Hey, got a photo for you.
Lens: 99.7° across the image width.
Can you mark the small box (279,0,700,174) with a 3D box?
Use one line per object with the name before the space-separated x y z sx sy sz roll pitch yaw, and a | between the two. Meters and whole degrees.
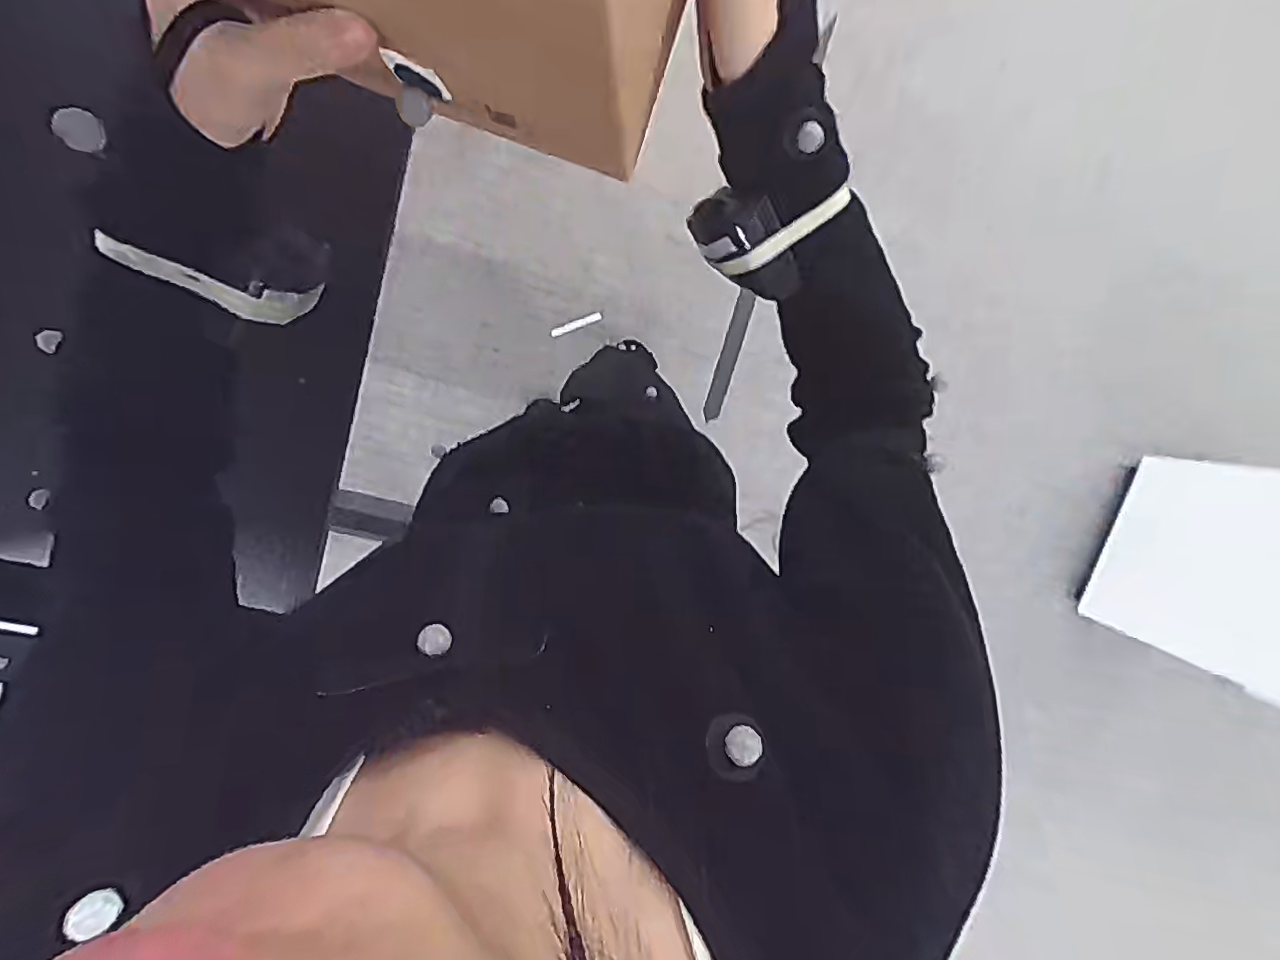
small box | -0.053 -0.246 0.184 0.168 0.176 0.179 18 100 0
